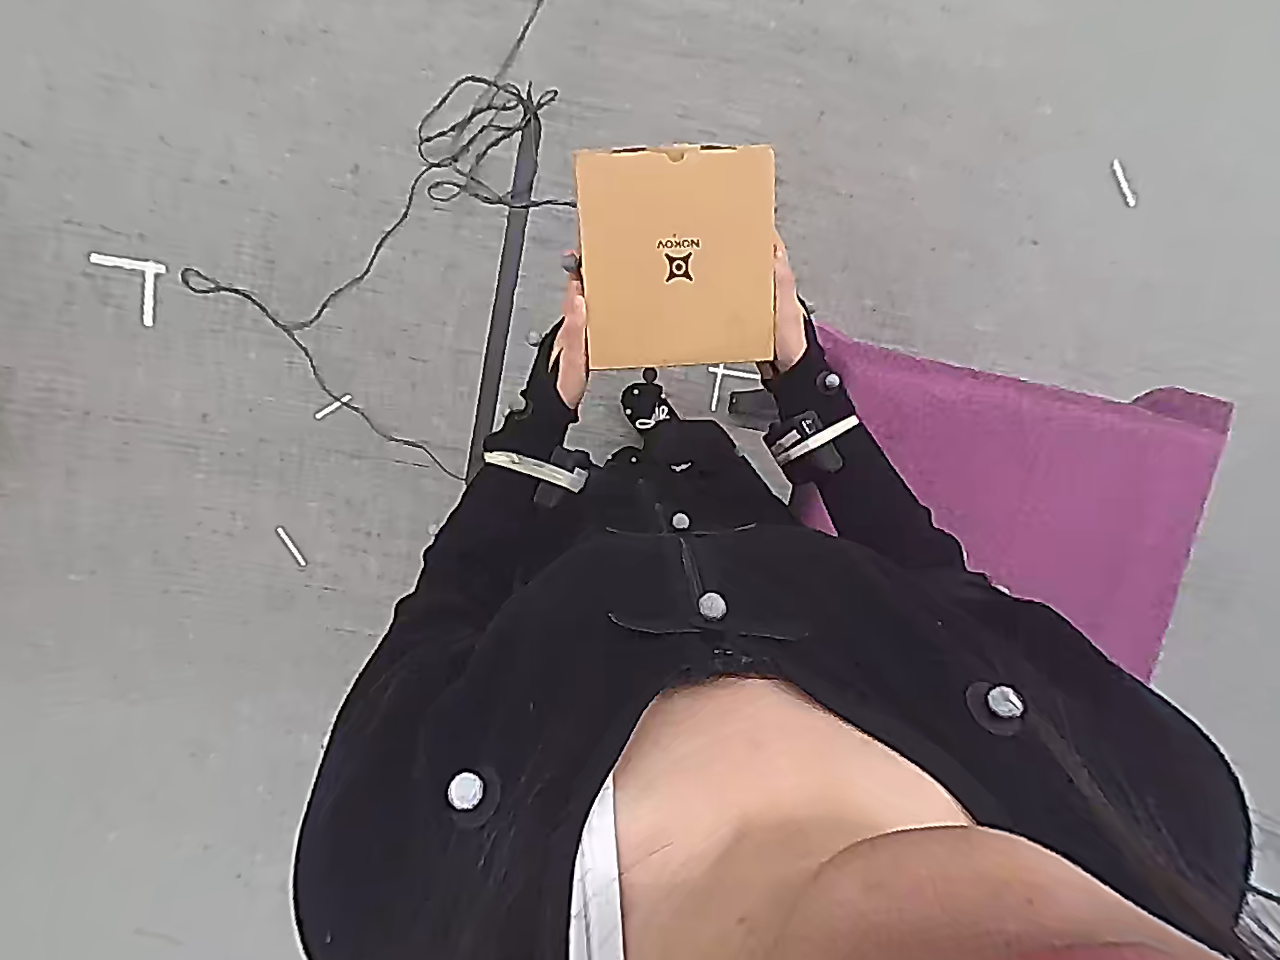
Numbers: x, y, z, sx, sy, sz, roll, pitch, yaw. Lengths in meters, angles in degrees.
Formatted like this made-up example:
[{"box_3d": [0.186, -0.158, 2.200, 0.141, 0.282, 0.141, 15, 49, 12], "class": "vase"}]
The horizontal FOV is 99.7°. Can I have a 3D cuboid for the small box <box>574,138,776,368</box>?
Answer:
[{"box_3d": [0.027, -0.204, 0.529, 0.168, 0.176, 0.179, -5, 101, -4], "class": "small box"}]
